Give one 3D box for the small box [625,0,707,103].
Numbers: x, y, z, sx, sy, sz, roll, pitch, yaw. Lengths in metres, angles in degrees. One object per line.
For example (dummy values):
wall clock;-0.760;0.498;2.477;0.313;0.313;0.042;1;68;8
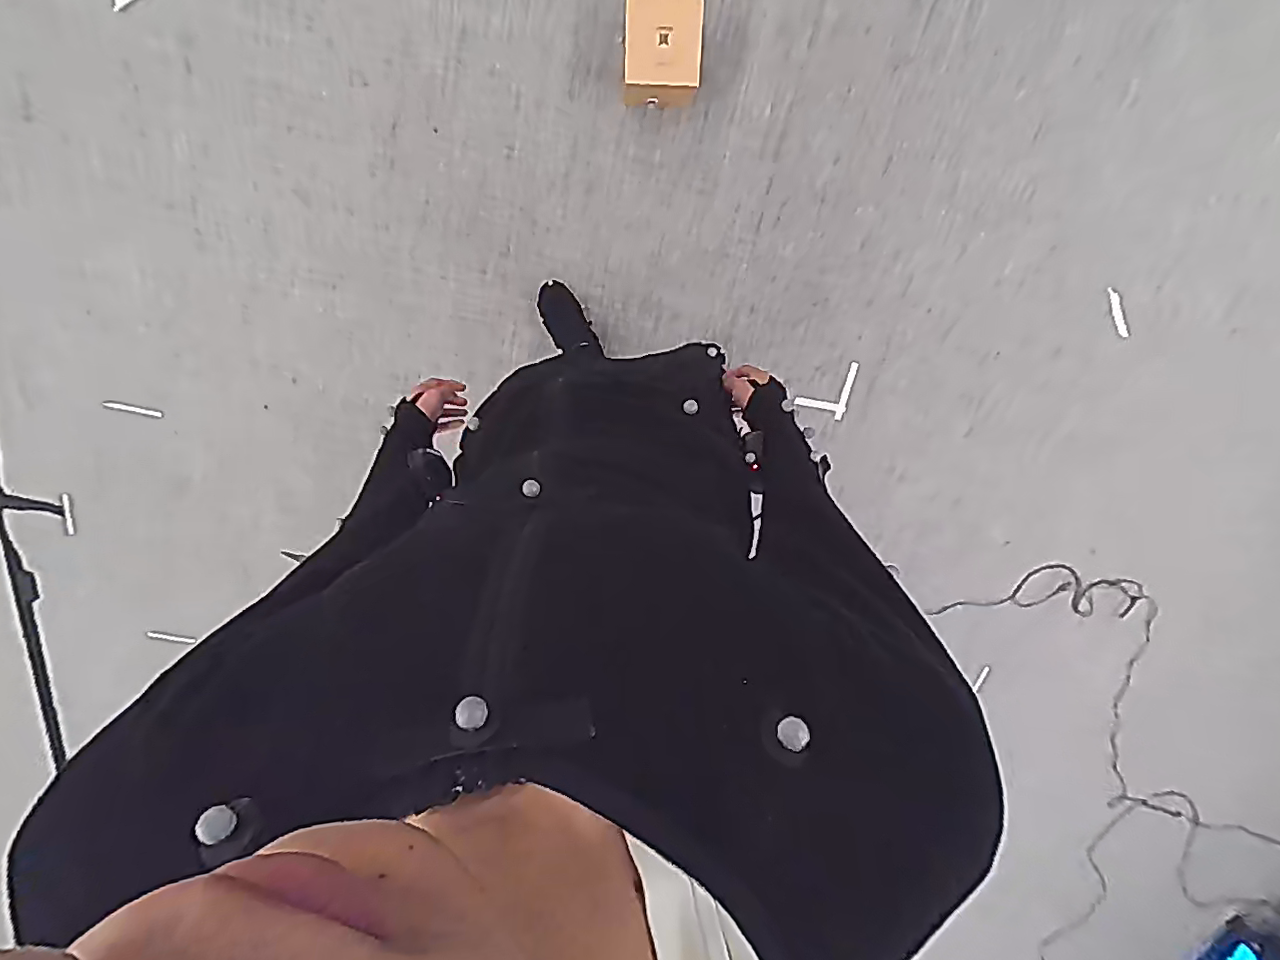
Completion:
small box;0.052;-0.975;1.211;0.168;0.176;0.179;1;112;-2
